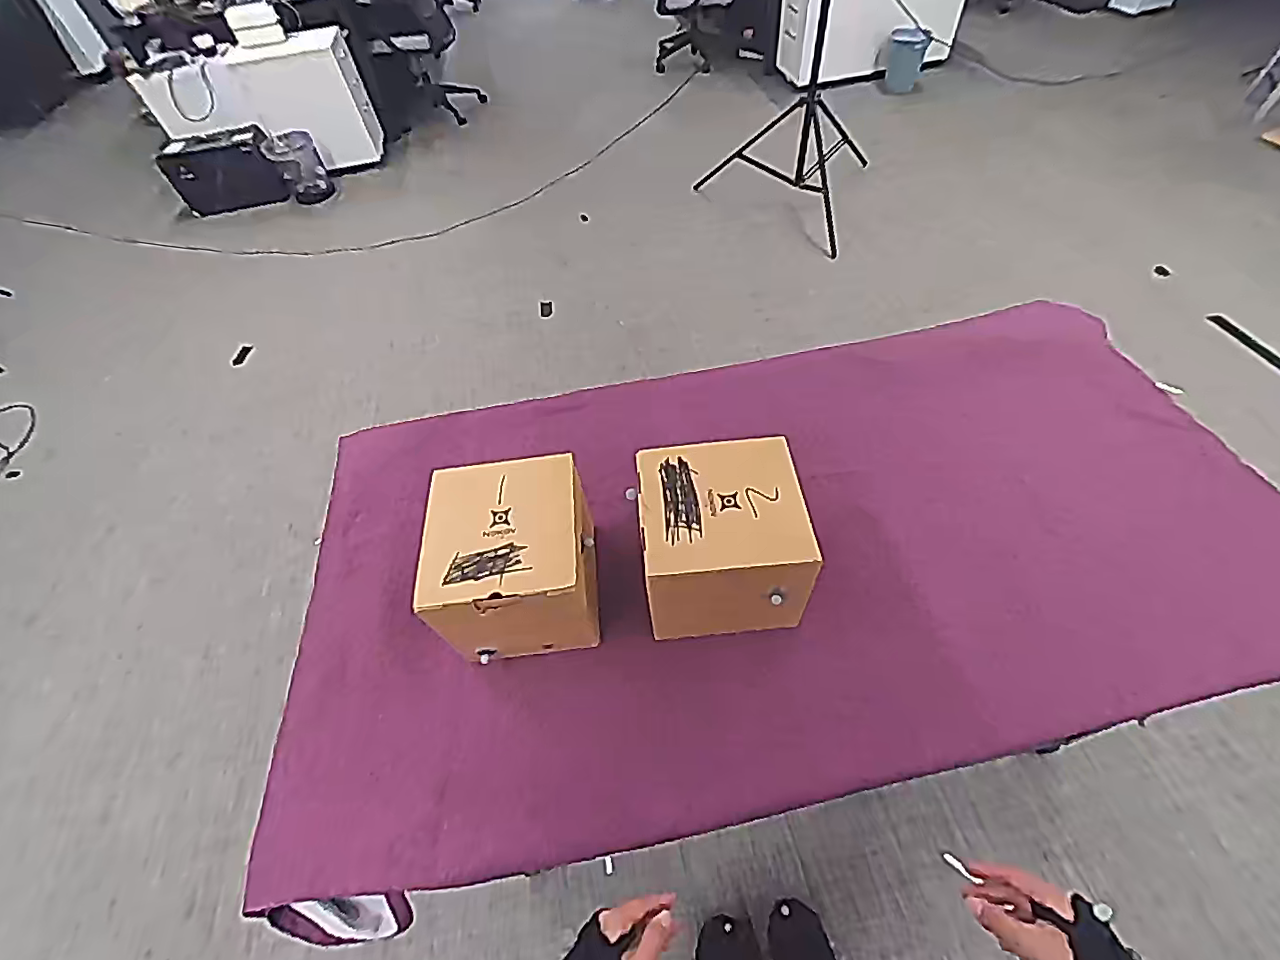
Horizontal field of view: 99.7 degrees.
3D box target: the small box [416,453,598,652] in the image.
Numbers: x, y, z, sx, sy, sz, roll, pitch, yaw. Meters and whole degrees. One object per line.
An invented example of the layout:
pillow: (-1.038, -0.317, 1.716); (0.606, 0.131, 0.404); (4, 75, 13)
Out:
small box: (-0.145, 0.094, 0.649); (0.168, 0.176, 0.179); (-7, 53, 0)
